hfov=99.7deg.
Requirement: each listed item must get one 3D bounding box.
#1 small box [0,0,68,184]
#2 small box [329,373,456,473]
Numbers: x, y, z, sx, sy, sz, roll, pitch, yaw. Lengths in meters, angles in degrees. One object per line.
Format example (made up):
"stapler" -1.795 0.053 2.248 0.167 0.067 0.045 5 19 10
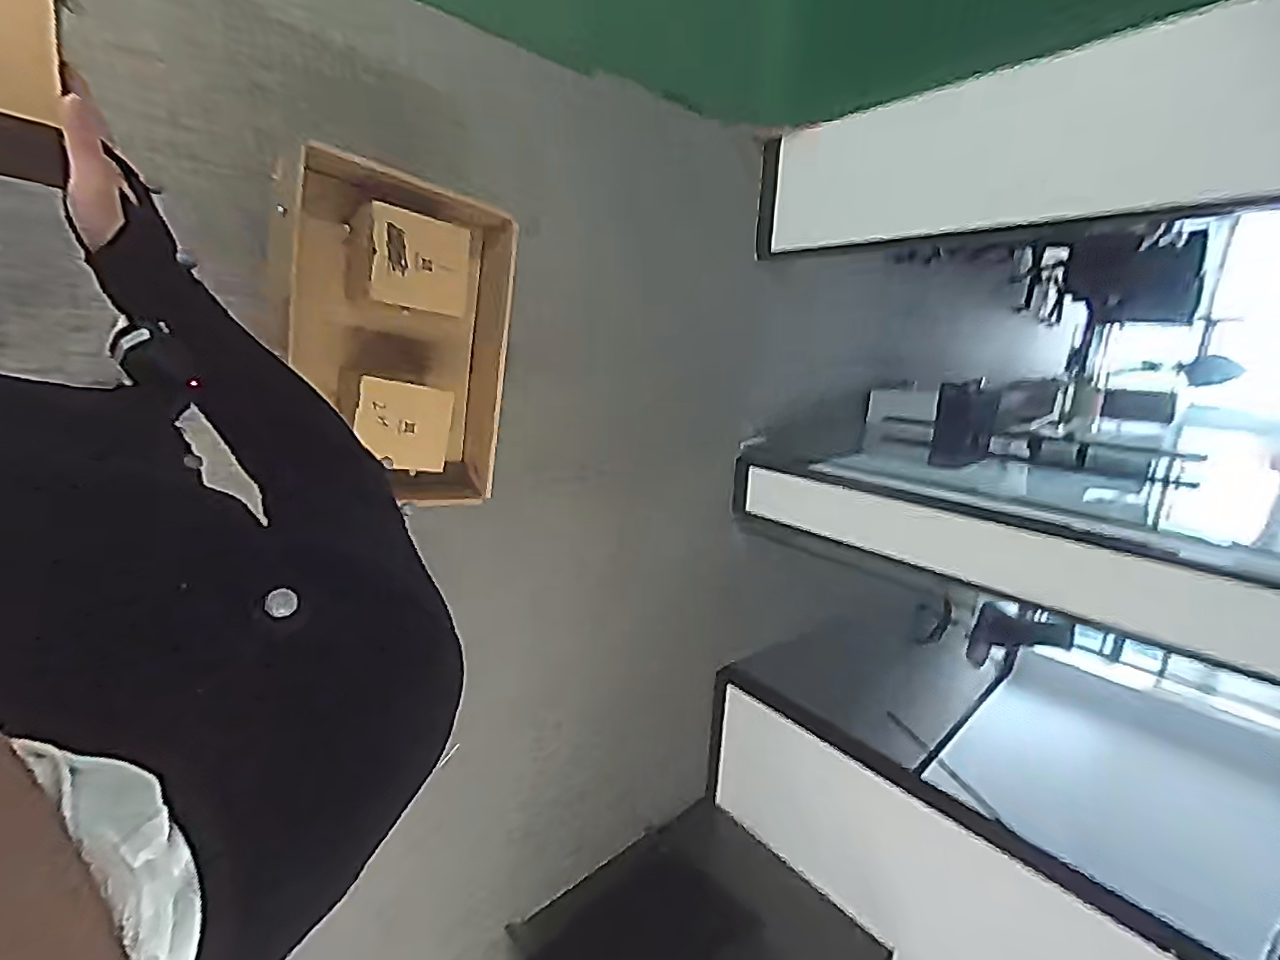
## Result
"small box" -0.545 -0.352 0.395 0.168 0.176 0.179 -5 100 -45
"small box" -0.499 -0.116 1.087 0.179 0.176 0.168 6 98 -43
